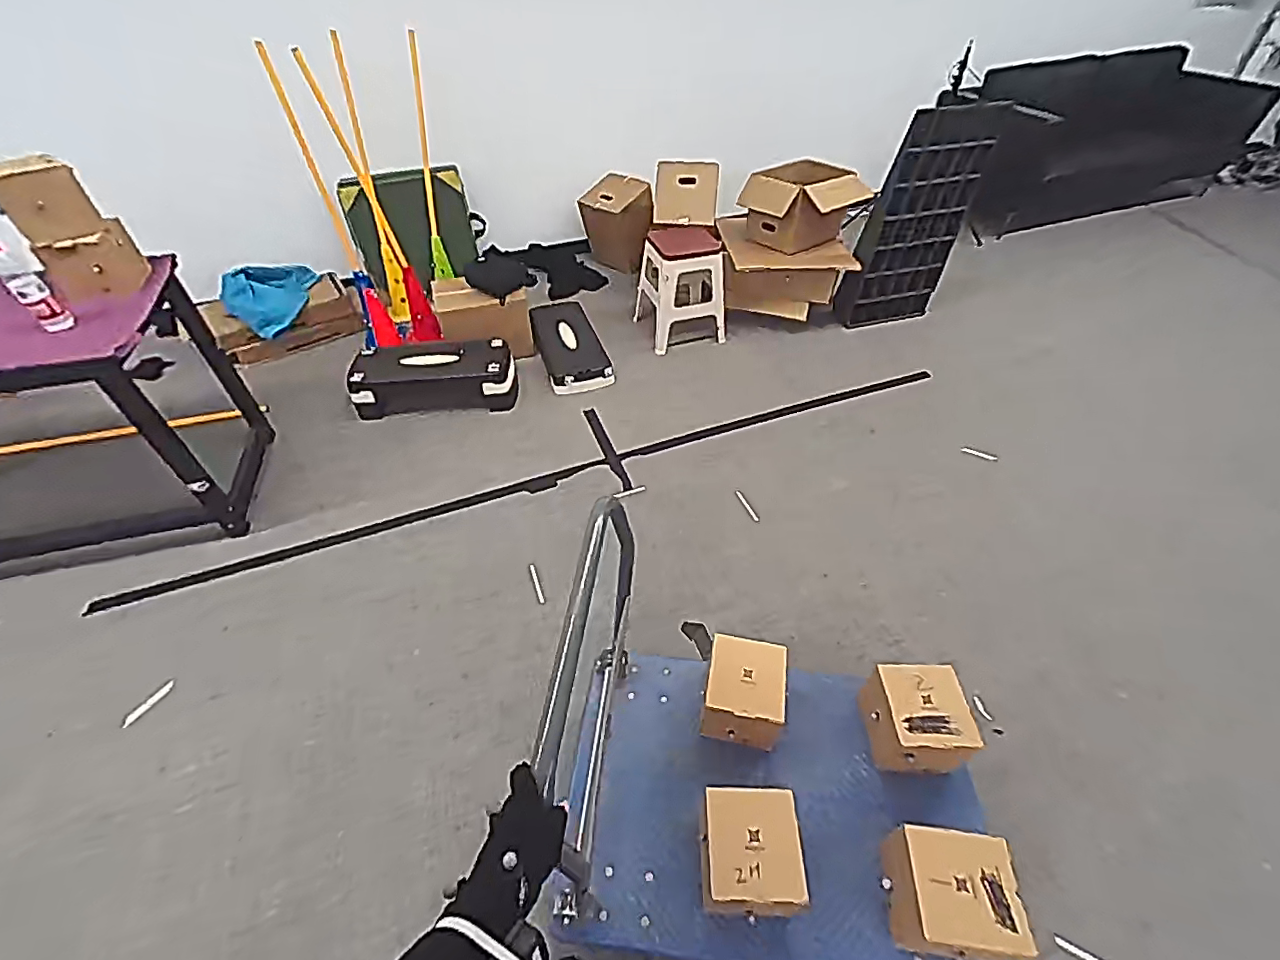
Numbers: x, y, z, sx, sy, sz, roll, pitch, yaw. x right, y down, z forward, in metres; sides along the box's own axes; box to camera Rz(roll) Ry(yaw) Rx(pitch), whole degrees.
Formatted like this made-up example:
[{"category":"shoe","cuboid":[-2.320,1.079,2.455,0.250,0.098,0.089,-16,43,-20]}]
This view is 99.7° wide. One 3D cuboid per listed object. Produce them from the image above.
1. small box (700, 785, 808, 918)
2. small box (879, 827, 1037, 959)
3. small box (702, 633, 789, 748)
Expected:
[{"category":"small box","cuboid":[0.204,0.702,1.022,0.168,0.176,0.179,2,46,2]},{"category":"small box","cuboid":[0.556,0.751,0.973,0.179,0.176,0.168,5,46,7]},{"category":"small box","cuboid":[0.238,0.482,1.236,0.168,0.176,0.179,10,48,8]}]
